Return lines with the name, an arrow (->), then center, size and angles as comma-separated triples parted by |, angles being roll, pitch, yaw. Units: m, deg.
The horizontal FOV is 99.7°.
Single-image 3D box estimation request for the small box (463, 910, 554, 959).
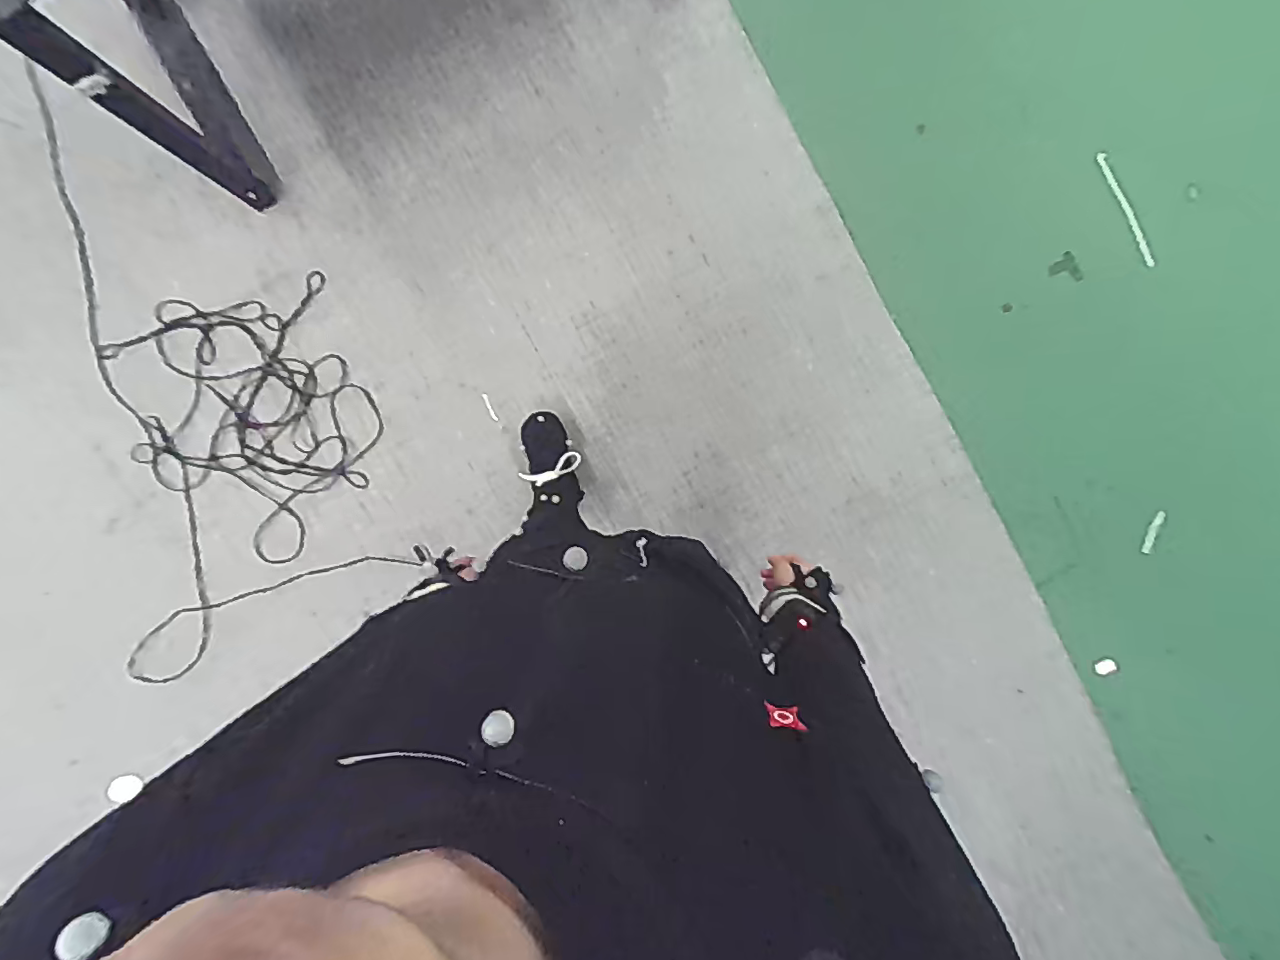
small box -> -0.326, 1.217, 1.316 | 0.168, 0.176, 0.179 | -31, 92, 0
